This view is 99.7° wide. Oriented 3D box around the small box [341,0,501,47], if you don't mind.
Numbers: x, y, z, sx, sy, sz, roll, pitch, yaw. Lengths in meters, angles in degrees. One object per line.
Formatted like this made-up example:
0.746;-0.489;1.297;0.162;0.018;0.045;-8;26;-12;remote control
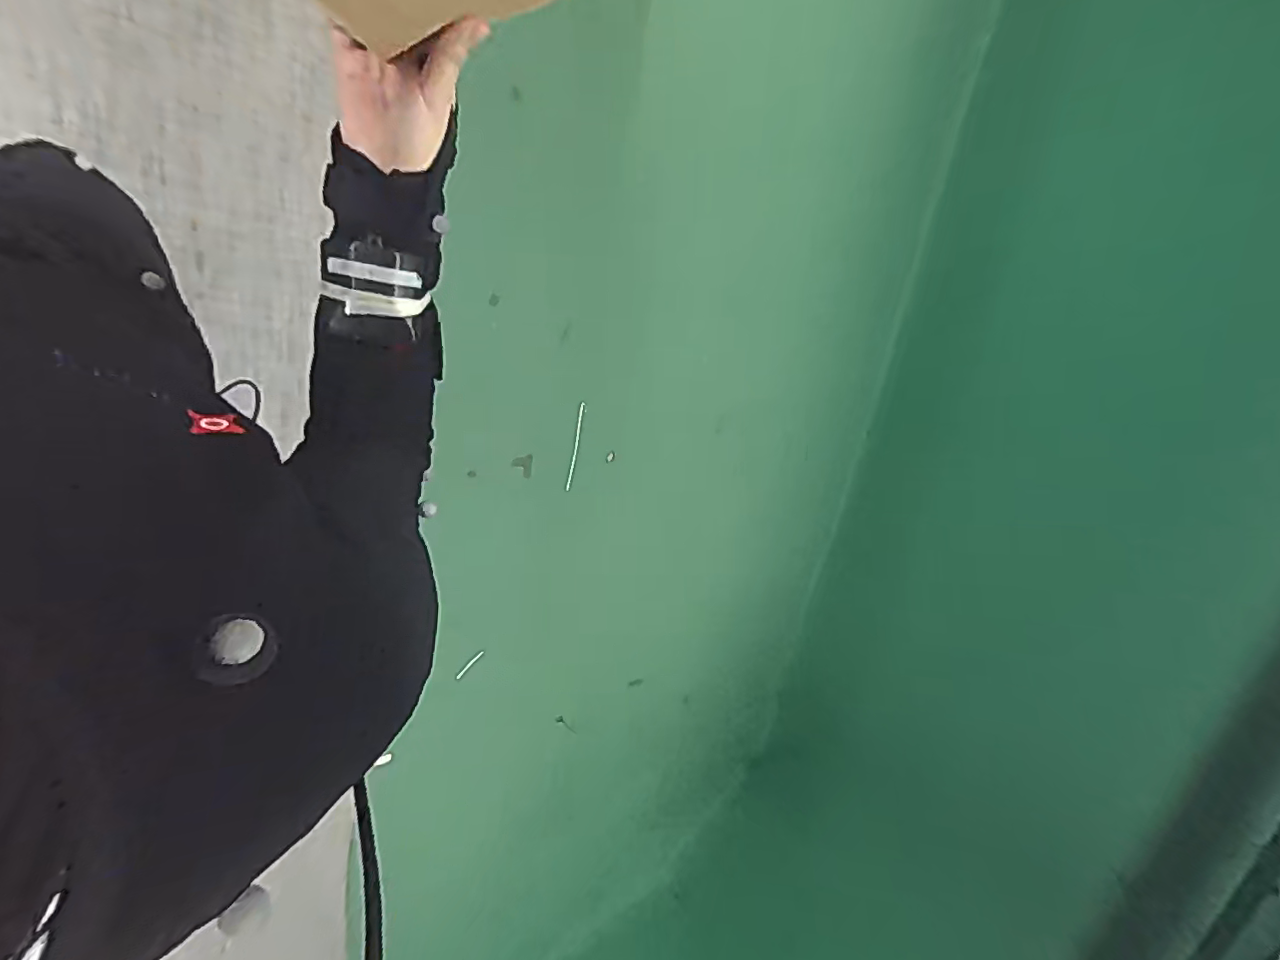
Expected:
-0.094;-0.323;0.212;0.168;0.179;0.176;-20;117;2;small box
